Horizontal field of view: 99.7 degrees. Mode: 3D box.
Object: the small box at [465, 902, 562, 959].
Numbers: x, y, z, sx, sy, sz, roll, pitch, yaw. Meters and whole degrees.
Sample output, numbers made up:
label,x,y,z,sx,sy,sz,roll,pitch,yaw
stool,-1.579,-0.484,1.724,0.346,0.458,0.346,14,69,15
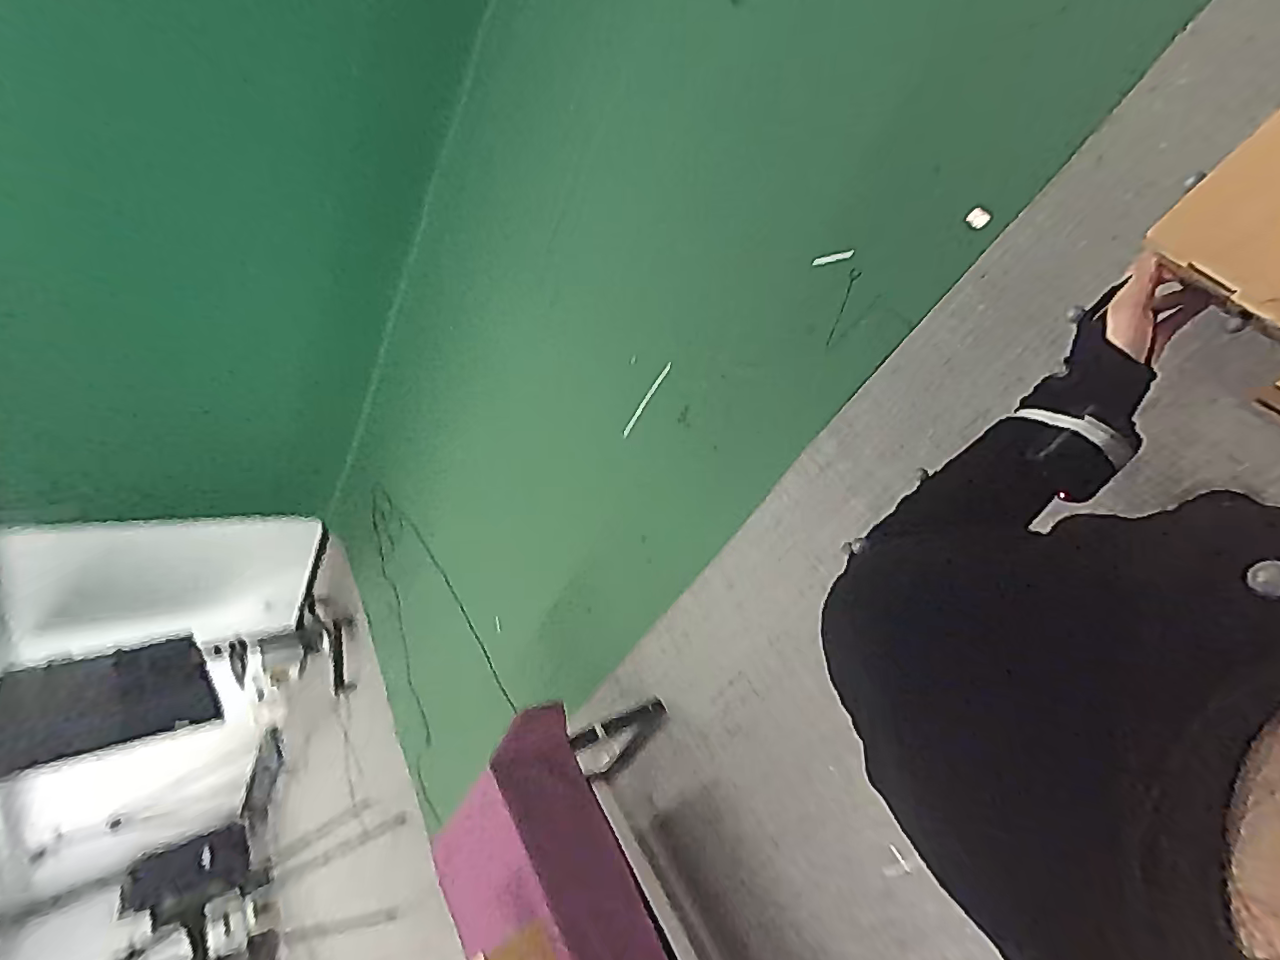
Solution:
label,x,y,z,sx,sy,sz,roll,pitch,yaw
small box,-0.312,1.223,1.361,0.179,0.176,0.168,54,125,31
